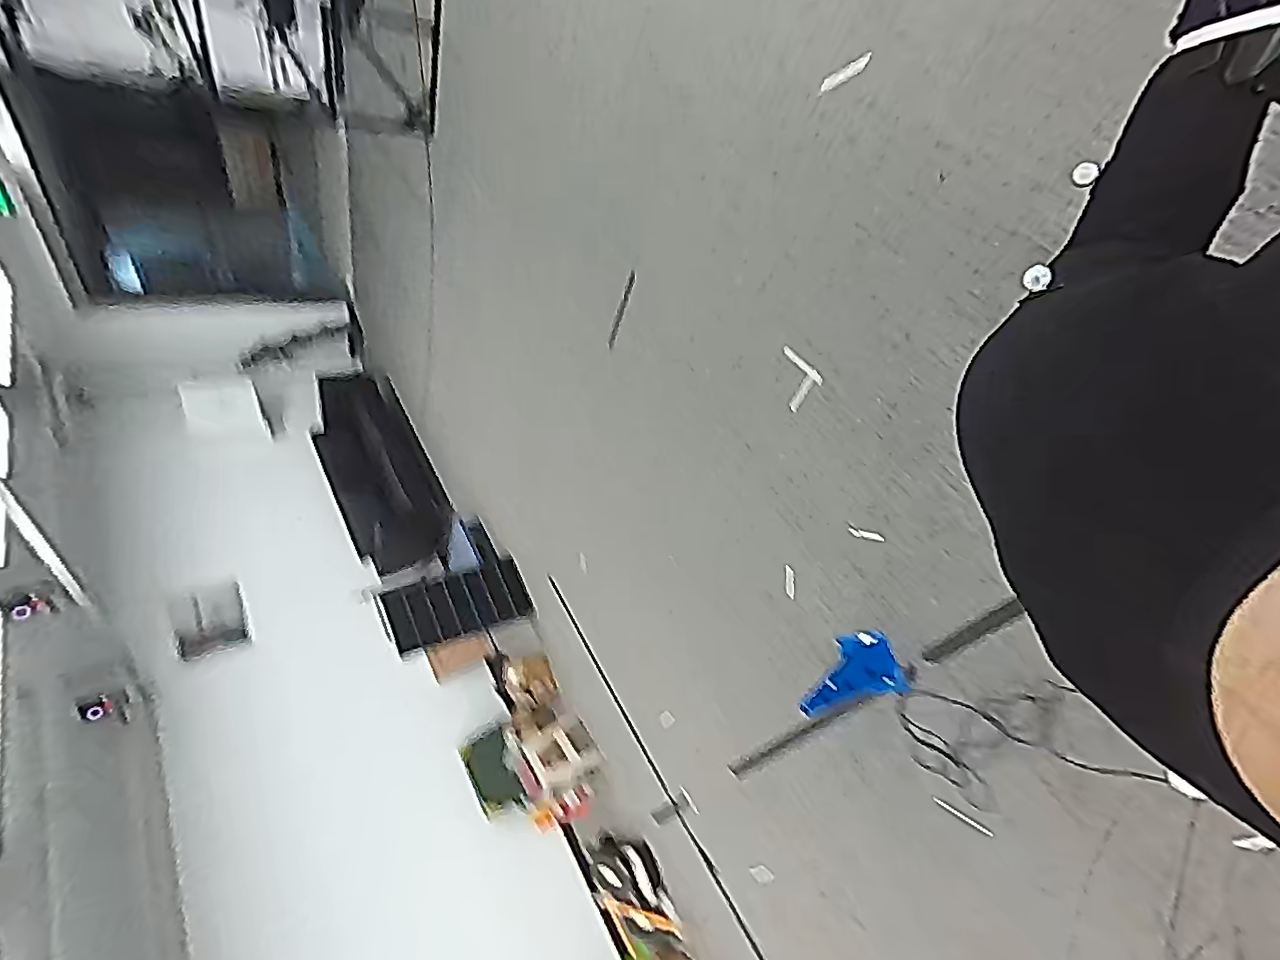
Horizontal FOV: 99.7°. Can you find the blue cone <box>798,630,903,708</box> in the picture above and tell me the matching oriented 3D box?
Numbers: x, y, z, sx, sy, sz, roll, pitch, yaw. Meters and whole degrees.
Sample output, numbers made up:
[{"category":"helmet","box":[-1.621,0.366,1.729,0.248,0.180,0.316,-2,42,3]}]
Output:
[{"category":"blue cone","box":[0.644,0.631,1.726,0.192,0.380,0.193,-35,73,54]}]
